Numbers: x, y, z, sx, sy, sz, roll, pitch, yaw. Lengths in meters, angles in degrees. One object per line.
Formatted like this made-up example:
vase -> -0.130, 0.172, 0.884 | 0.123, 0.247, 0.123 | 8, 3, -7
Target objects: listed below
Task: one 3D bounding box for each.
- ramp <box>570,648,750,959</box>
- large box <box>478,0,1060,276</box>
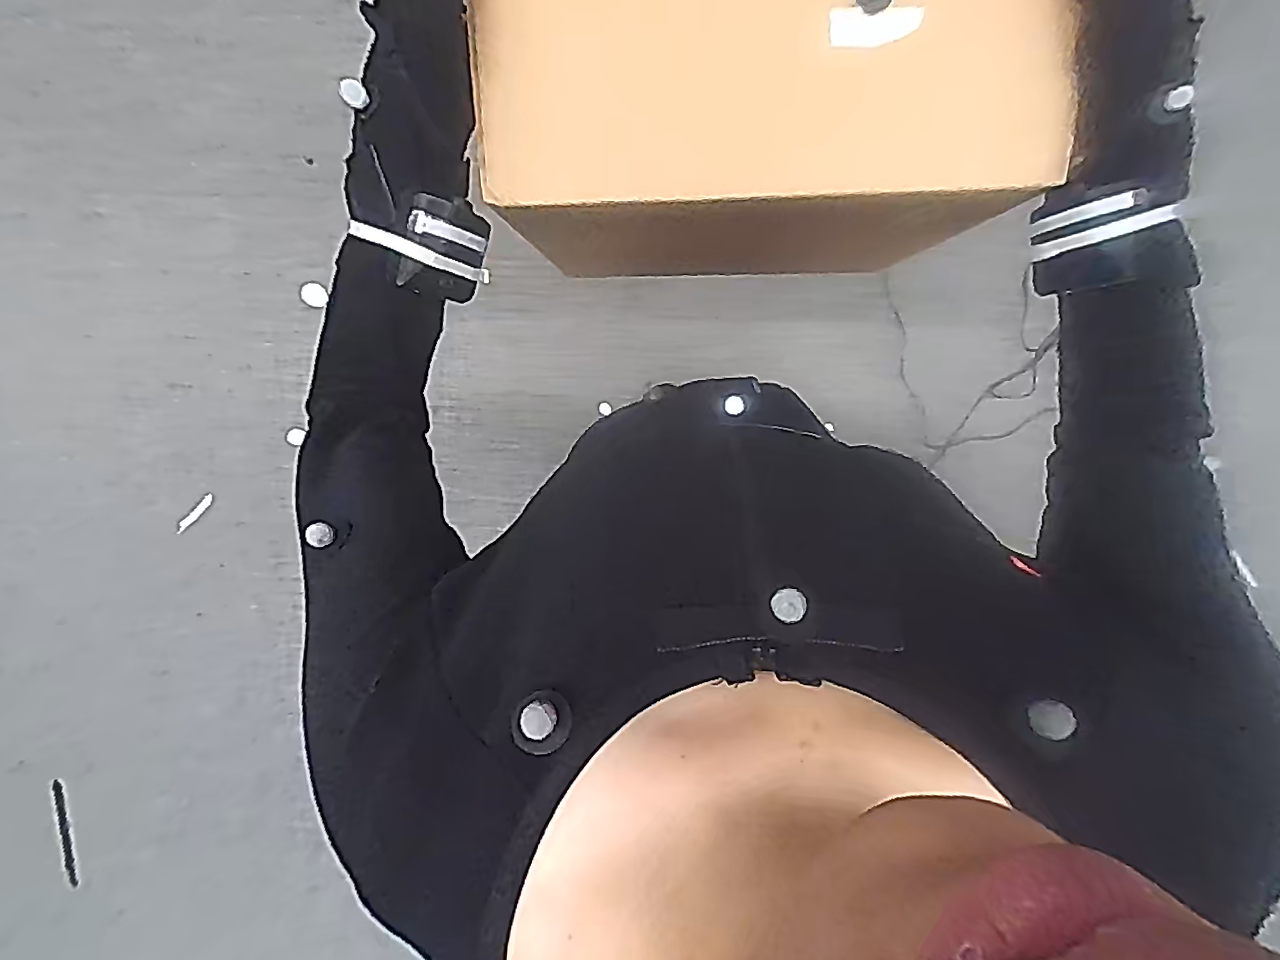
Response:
ramp -> 0.054, 1.000, 1.576 | 0.509, 0.206, 0.991 | 1, 99, 4
large box -> 0.088, -0.390, 0.511 | 0.408, 0.320, 0.320 | -1, 101, 3
